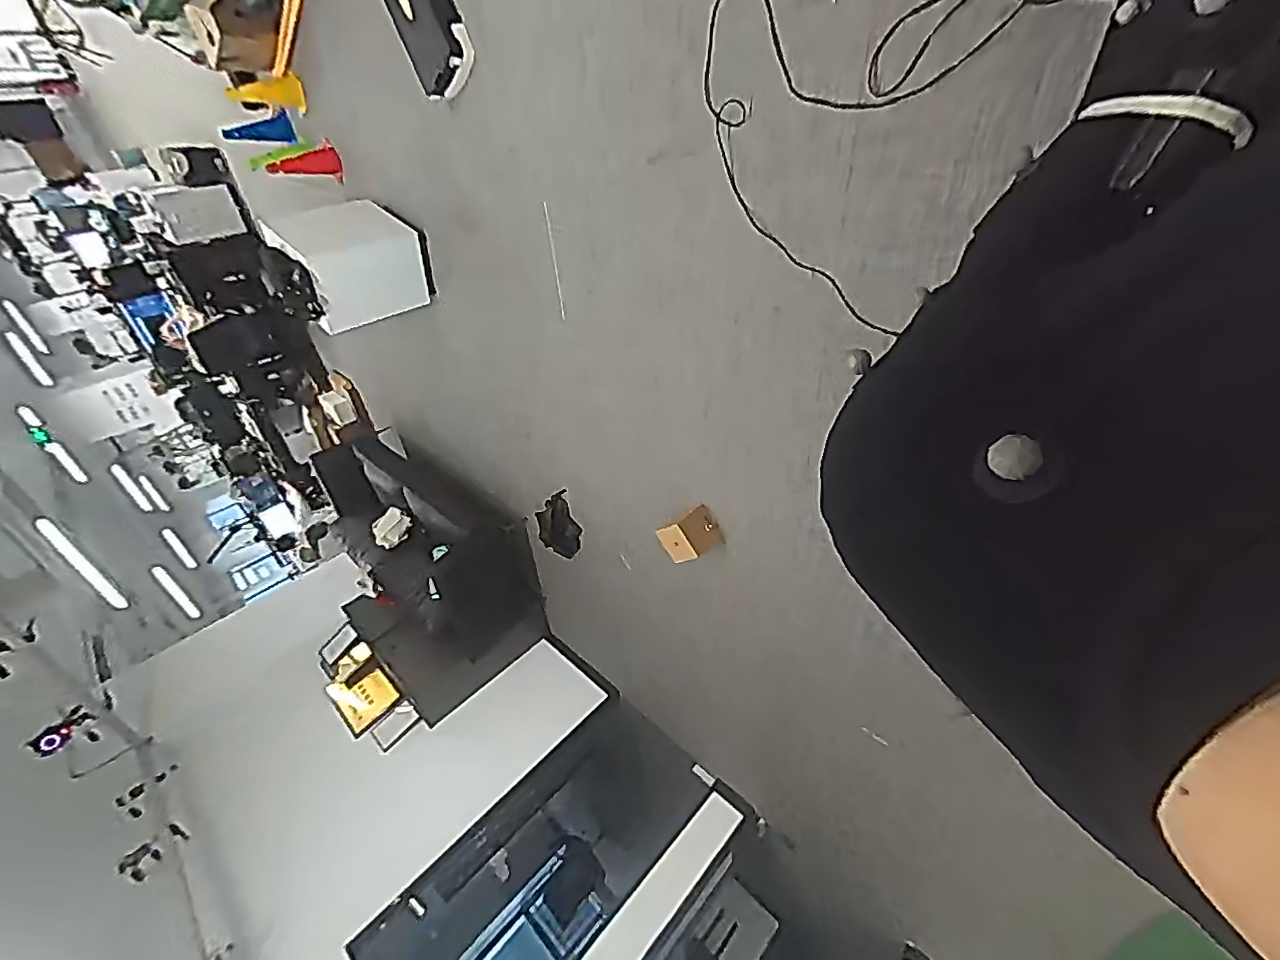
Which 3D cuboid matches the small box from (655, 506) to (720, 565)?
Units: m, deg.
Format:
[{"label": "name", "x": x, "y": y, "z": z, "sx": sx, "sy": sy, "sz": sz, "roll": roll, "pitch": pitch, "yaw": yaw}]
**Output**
[{"label": "small box", "x": 0.200, "y": 0.231, "z": 2.254, "sx": 0.168, "sy": 0.176, "sz": 0.179, "roll": 57, "pitch": 146, "yaw": -3}]
